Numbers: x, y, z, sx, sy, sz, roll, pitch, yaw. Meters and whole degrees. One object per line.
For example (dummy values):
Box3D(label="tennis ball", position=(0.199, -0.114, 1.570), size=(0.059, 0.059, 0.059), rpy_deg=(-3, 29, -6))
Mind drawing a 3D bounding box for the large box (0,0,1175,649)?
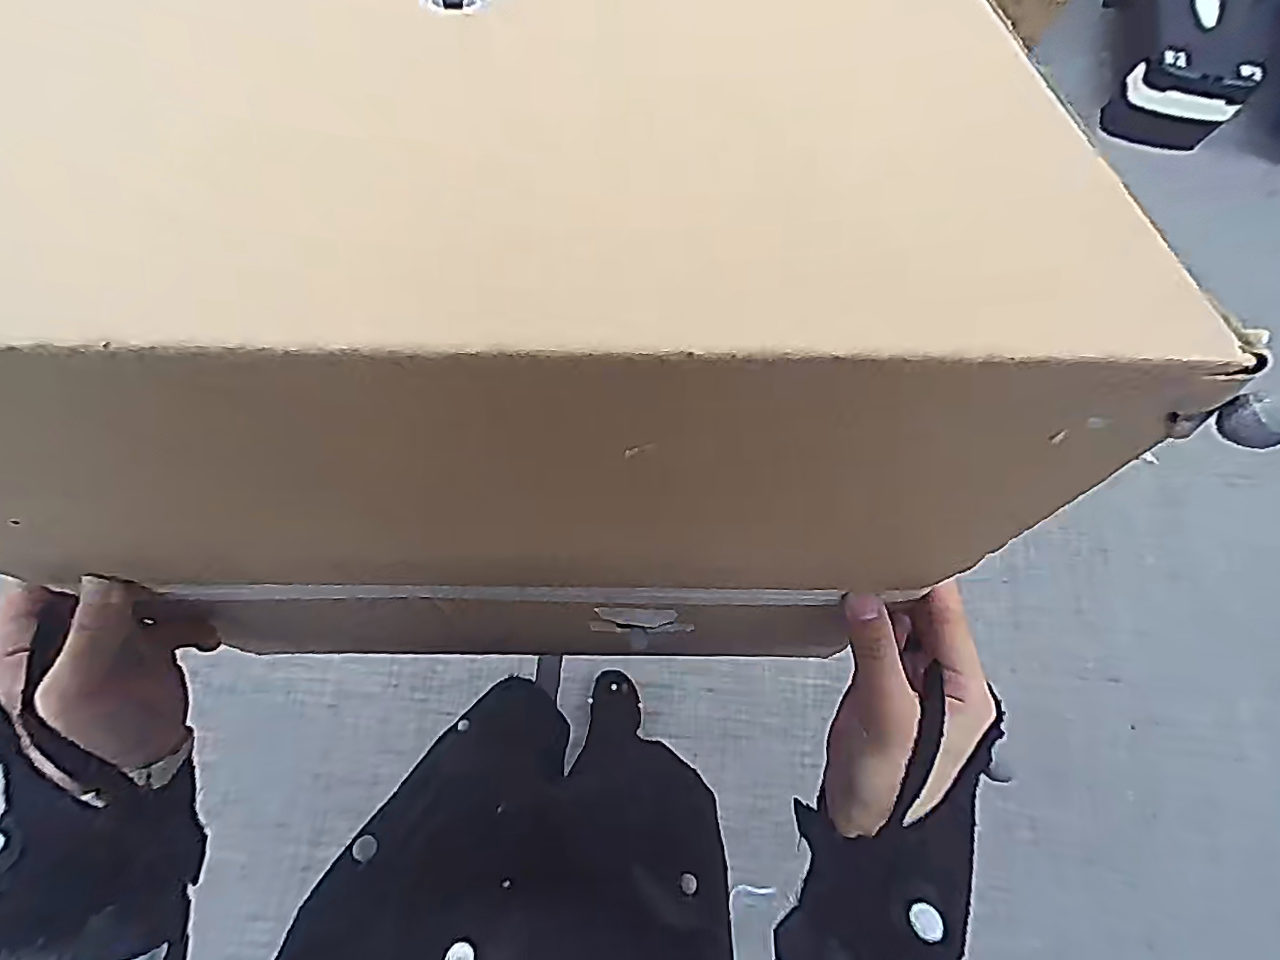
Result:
Box3D(label="large box", position=(-0.070, -0.086, 0.333), size=(0.408, 0.320, 0.320), rpy_deg=(0, 62, -1))
